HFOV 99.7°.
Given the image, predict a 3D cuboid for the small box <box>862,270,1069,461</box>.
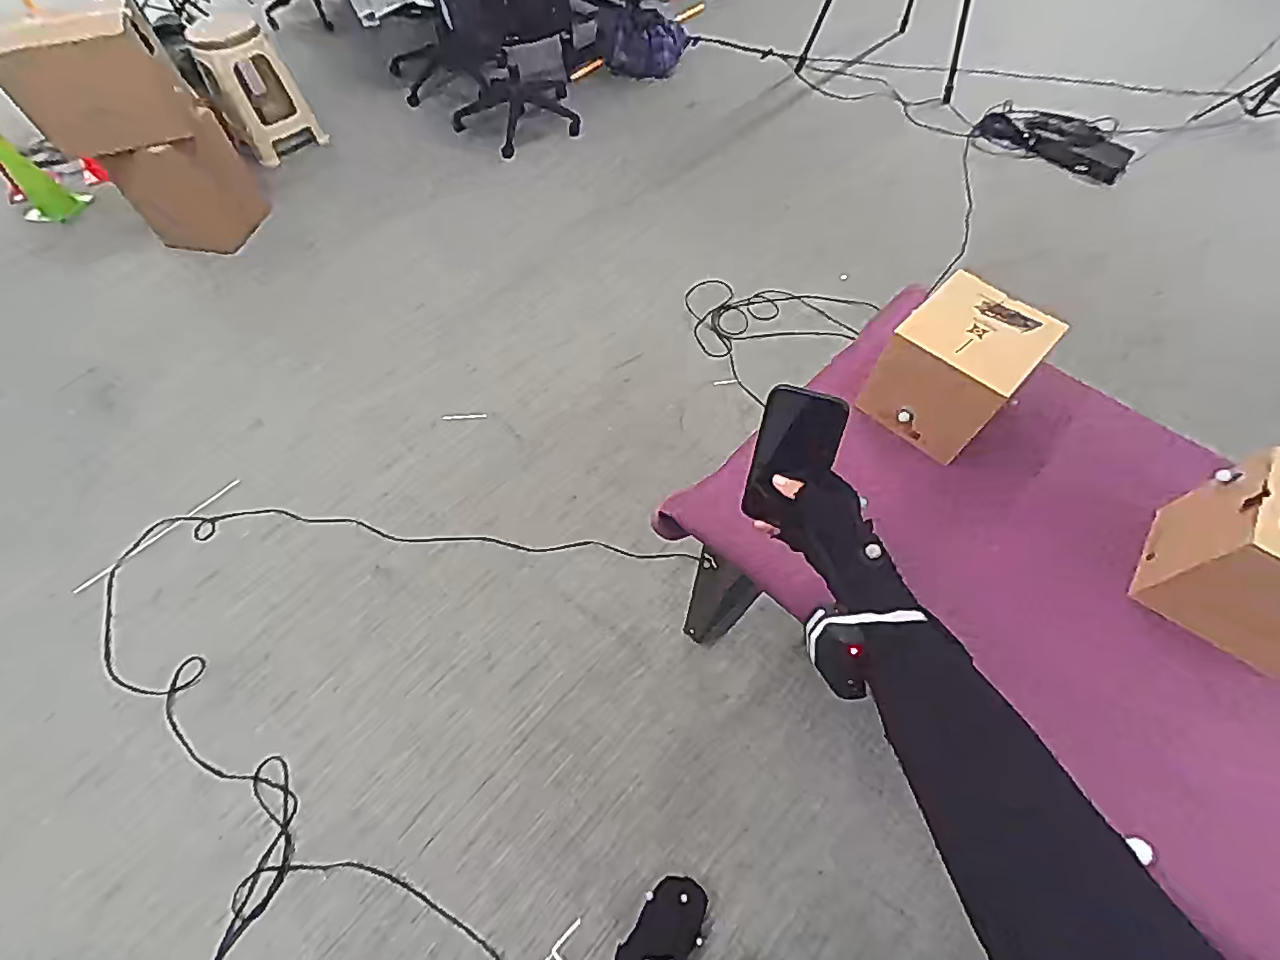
[{"bbox_3d":[0.460,-0.163,0.794,0.179,0.176,0.168,-41,67,-19],"label":"small box"}]
